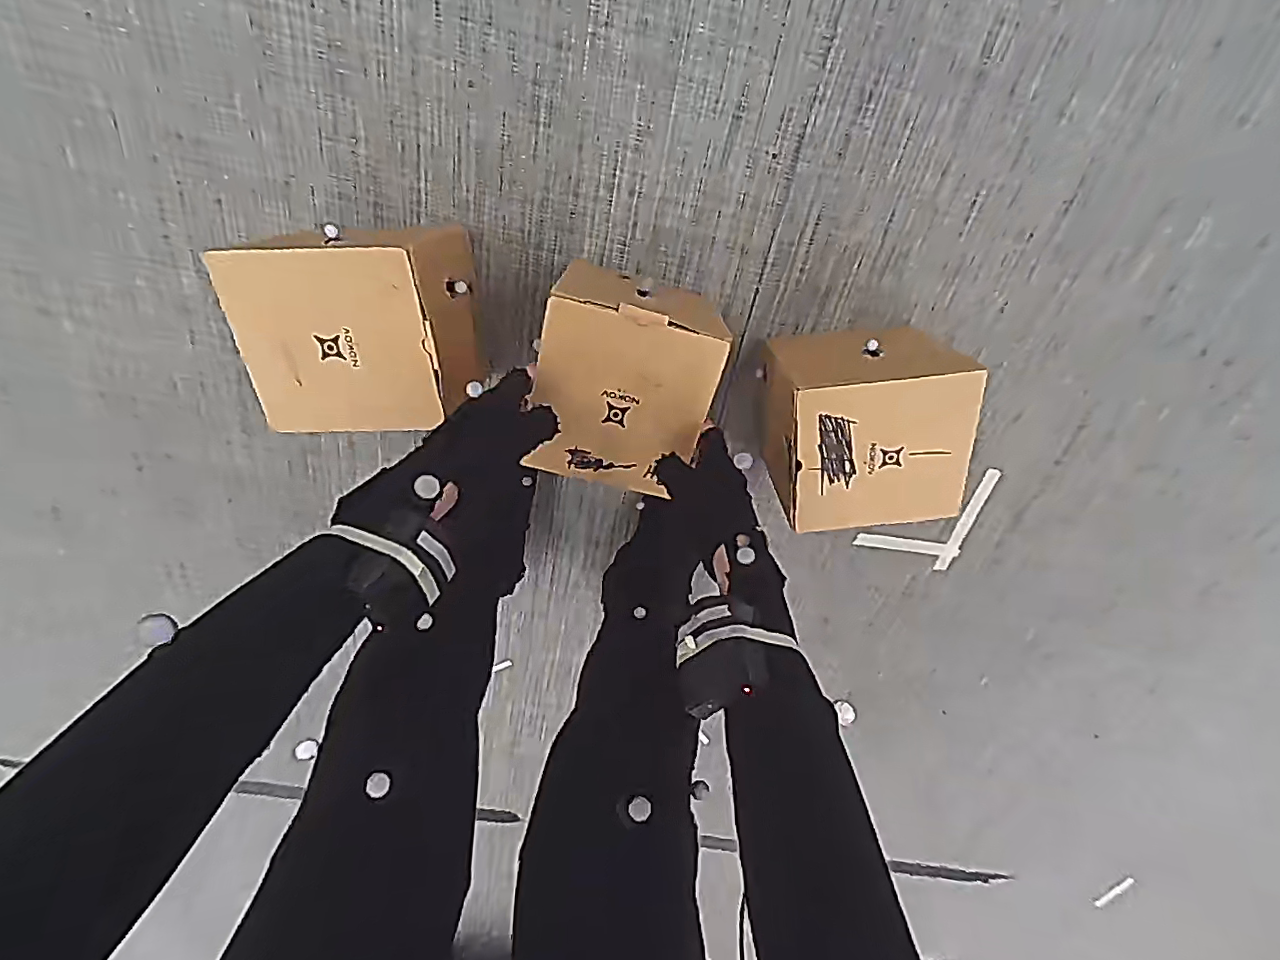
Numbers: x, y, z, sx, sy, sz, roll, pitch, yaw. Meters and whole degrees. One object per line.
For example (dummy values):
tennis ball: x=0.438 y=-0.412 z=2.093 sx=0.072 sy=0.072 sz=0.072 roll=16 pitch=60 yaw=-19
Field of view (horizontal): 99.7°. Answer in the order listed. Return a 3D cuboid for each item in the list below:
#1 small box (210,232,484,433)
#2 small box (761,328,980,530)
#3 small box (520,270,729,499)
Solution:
small box: x=-0.271 y=-0.157 z=0.557 sx=0.179 sy=0.176 sz=0.168 roll=-1 pitch=119 yaw=2
small box: x=0.236 y=-0.063 z=0.609 sx=0.179 sy=0.176 sz=0.168 roll=-6 pitch=120 yaw=3
small box: x=-0.021 y=-0.110 z=0.582 sx=0.168 sy=0.176 sz=0.179 roll=13 pitch=119 yaw=-7
